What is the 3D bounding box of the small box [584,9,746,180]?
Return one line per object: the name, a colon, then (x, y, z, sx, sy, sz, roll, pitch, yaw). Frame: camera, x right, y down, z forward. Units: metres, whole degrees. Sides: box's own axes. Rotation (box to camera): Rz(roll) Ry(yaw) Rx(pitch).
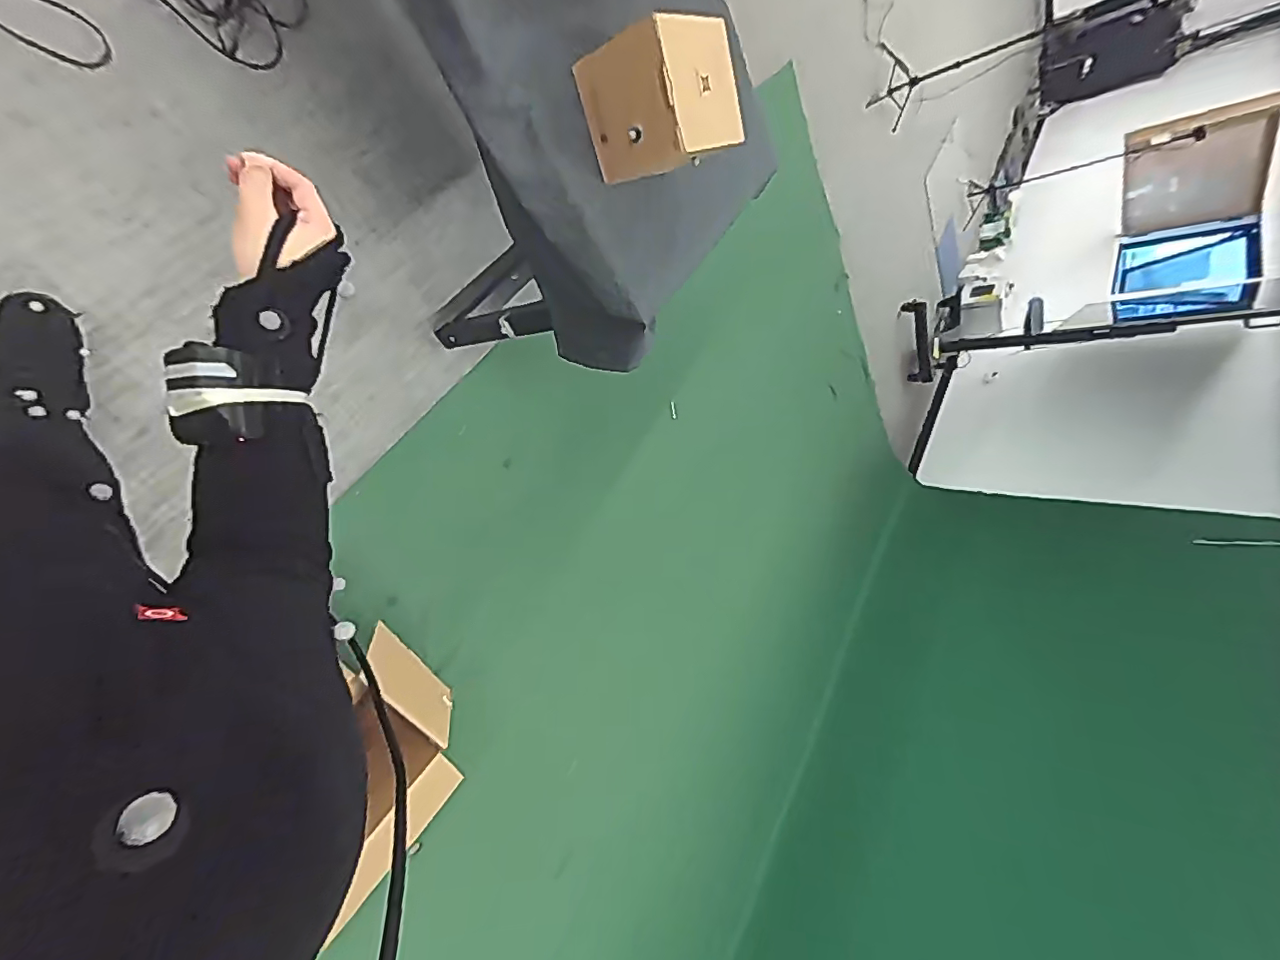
small box: (0.035, -0.582, 0.833, 0.179, 0.176, 0.168, -39, 122, -39)
